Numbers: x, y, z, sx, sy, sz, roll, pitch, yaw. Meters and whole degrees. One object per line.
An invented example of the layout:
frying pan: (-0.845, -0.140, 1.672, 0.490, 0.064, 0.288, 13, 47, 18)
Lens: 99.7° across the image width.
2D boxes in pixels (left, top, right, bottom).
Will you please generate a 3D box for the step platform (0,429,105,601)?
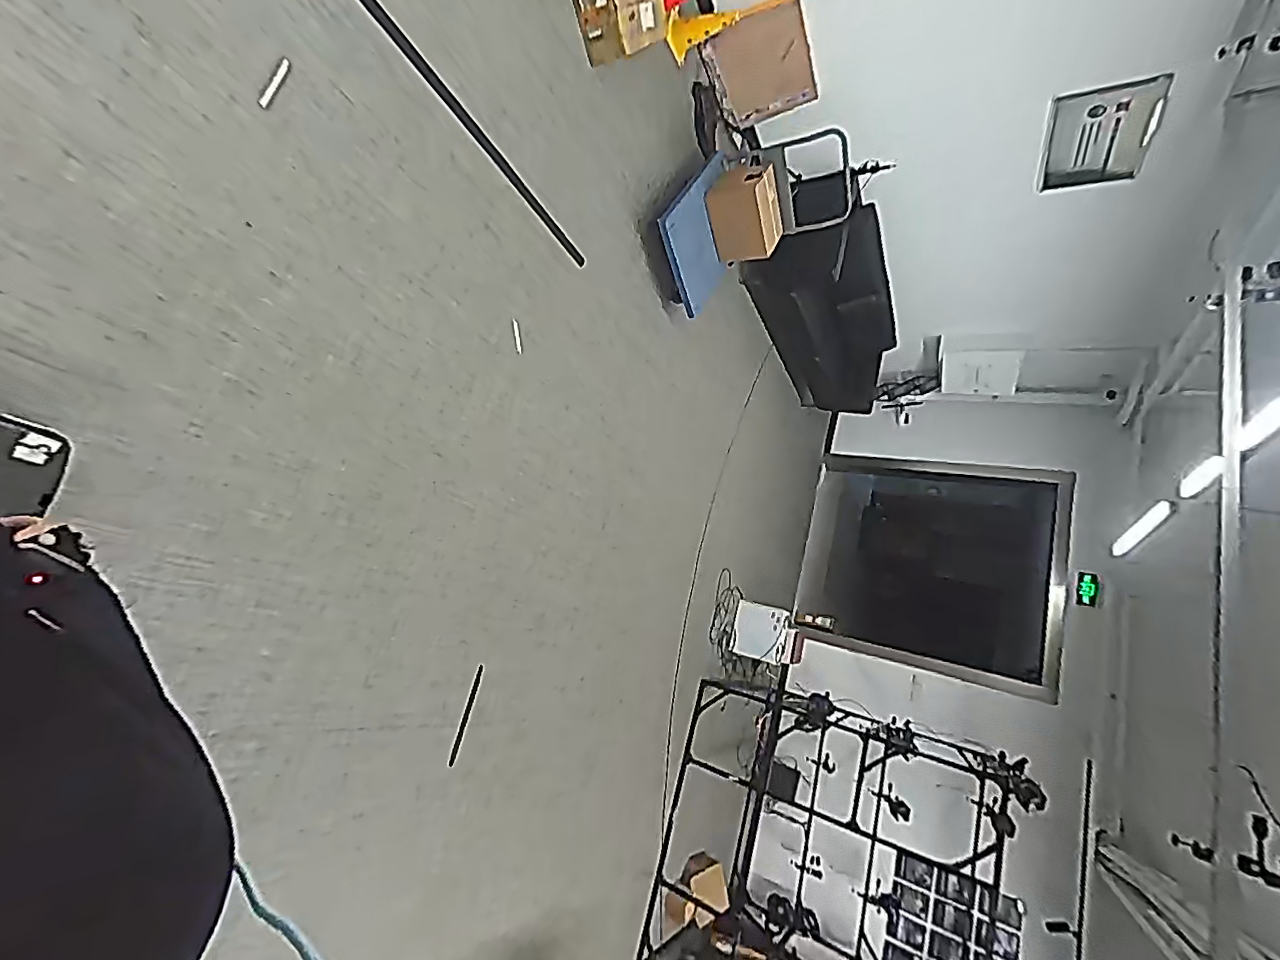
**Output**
step platform: (-1.285, -0.038, 0.808, 0.684, 0.204, 0.286, 44, 59, -53)
